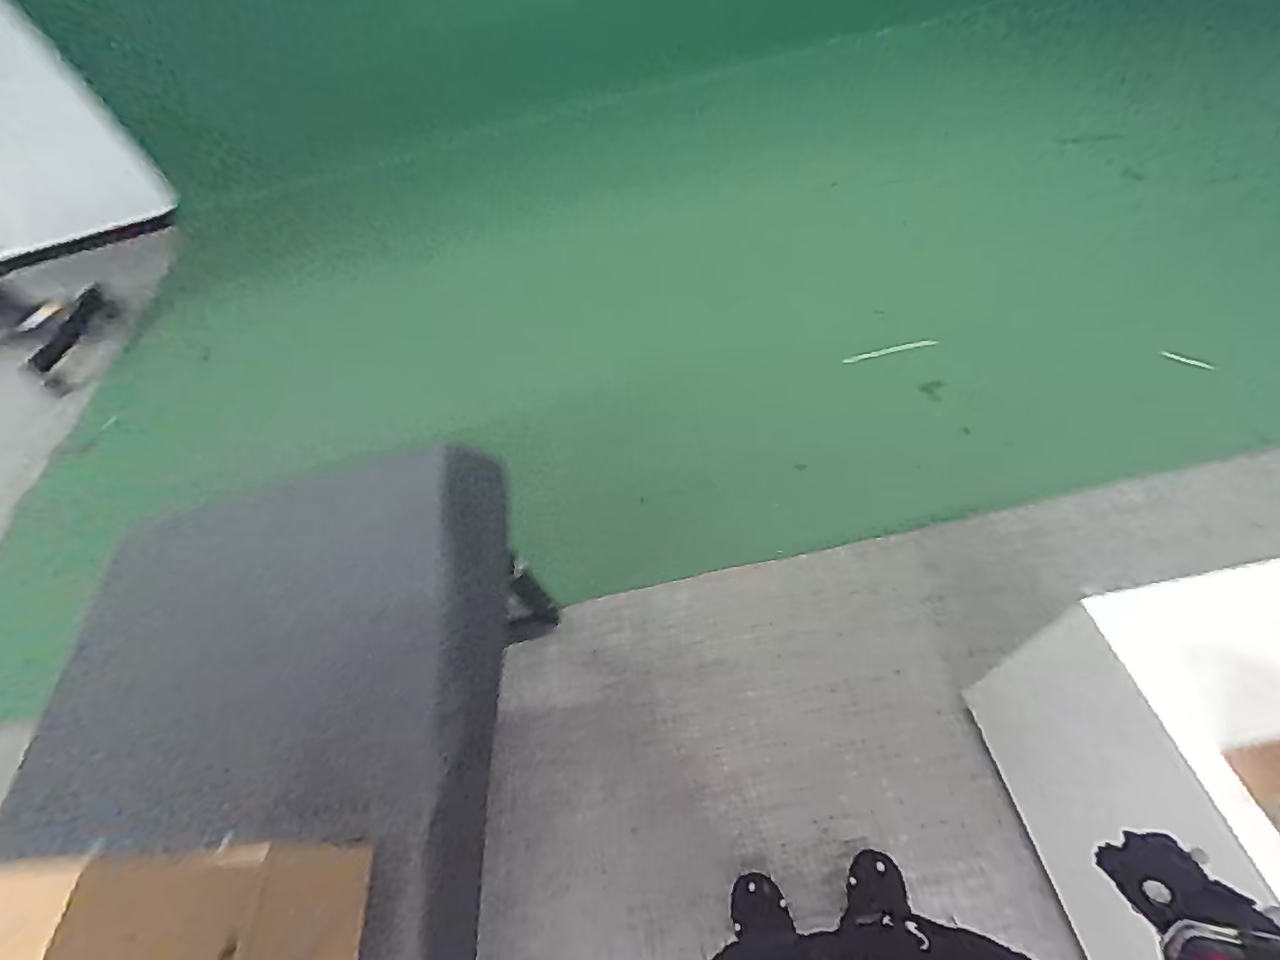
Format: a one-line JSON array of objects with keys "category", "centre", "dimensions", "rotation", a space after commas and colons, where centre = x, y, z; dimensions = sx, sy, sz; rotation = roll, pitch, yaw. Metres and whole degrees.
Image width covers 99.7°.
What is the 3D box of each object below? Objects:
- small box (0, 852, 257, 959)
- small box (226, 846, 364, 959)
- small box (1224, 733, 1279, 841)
[{"category": "small box", "centre": [-0.430, 0.373, 0.381], "dimensions": [0.179, 0.176, 0.168], "rotation": [-13, 54, 6]}, {"category": "small box", "centre": [-0.394, 0.464, 0.514], "dimensions": [0.168, 0.176, 0.179], "rotation": [-12, 55, 5]}, {"category": "small box", "centre": [0.760, 0.317, 0.523], "dimensions": [0.179, 0.176, 0.168], "rotation": [-16, 54, 3]}]
